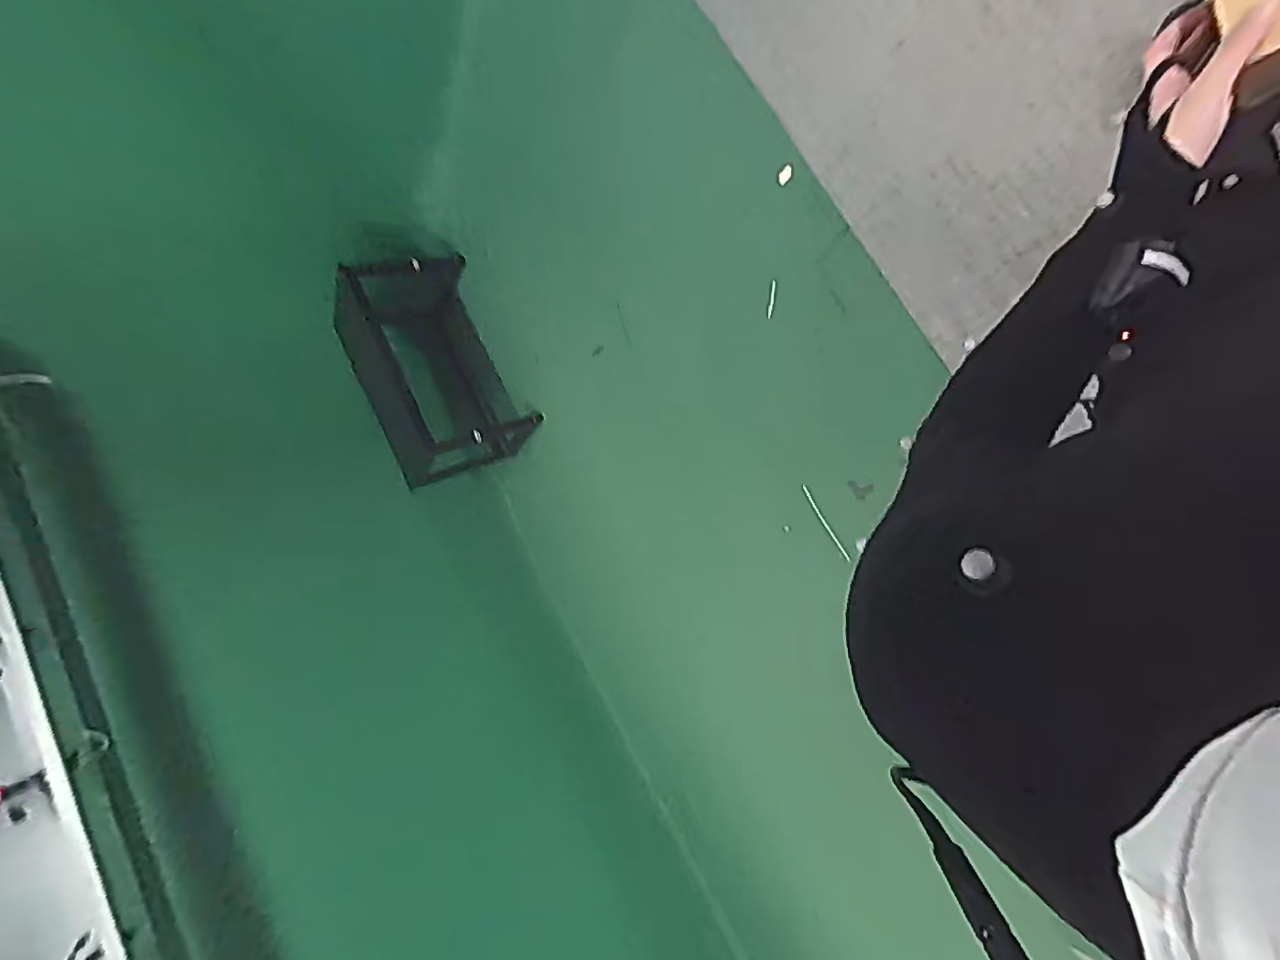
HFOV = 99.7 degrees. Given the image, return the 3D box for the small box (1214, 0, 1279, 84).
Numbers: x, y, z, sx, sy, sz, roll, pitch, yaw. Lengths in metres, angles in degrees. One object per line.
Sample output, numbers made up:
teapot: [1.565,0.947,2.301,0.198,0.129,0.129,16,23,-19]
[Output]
small box: [0.528,-0.421,0.382,0.168,0.176,0.179,-13,94,54]
